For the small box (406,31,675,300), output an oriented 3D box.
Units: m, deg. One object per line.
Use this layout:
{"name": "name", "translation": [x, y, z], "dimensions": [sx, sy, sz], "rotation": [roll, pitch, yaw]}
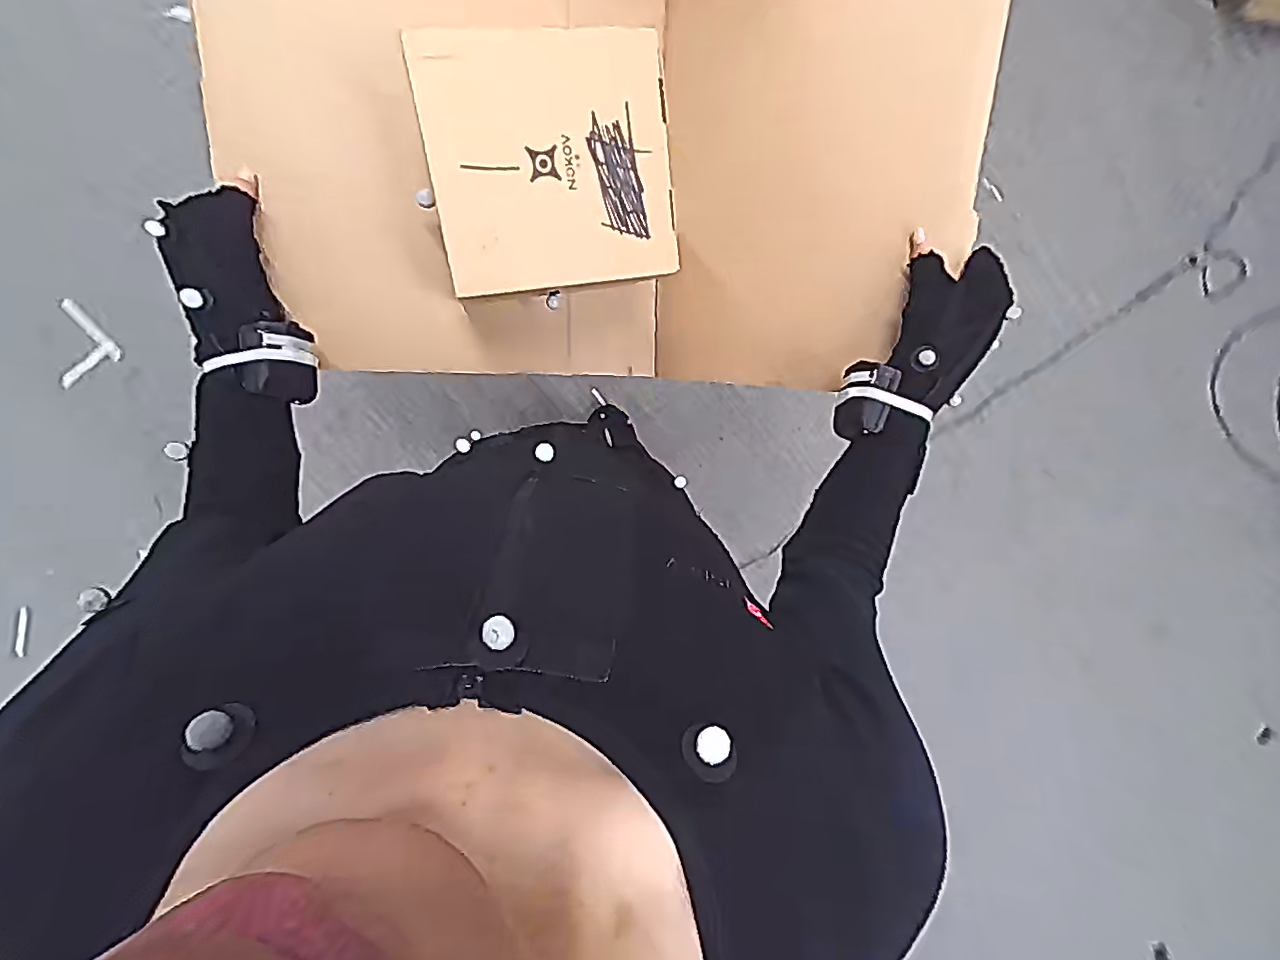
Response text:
{"name": "small box", "translation": [-0.085, -0.253, 0.470], "dimensions": [0.179, 0.176, 0.168], "rotation": [-12, 109, -12]}
